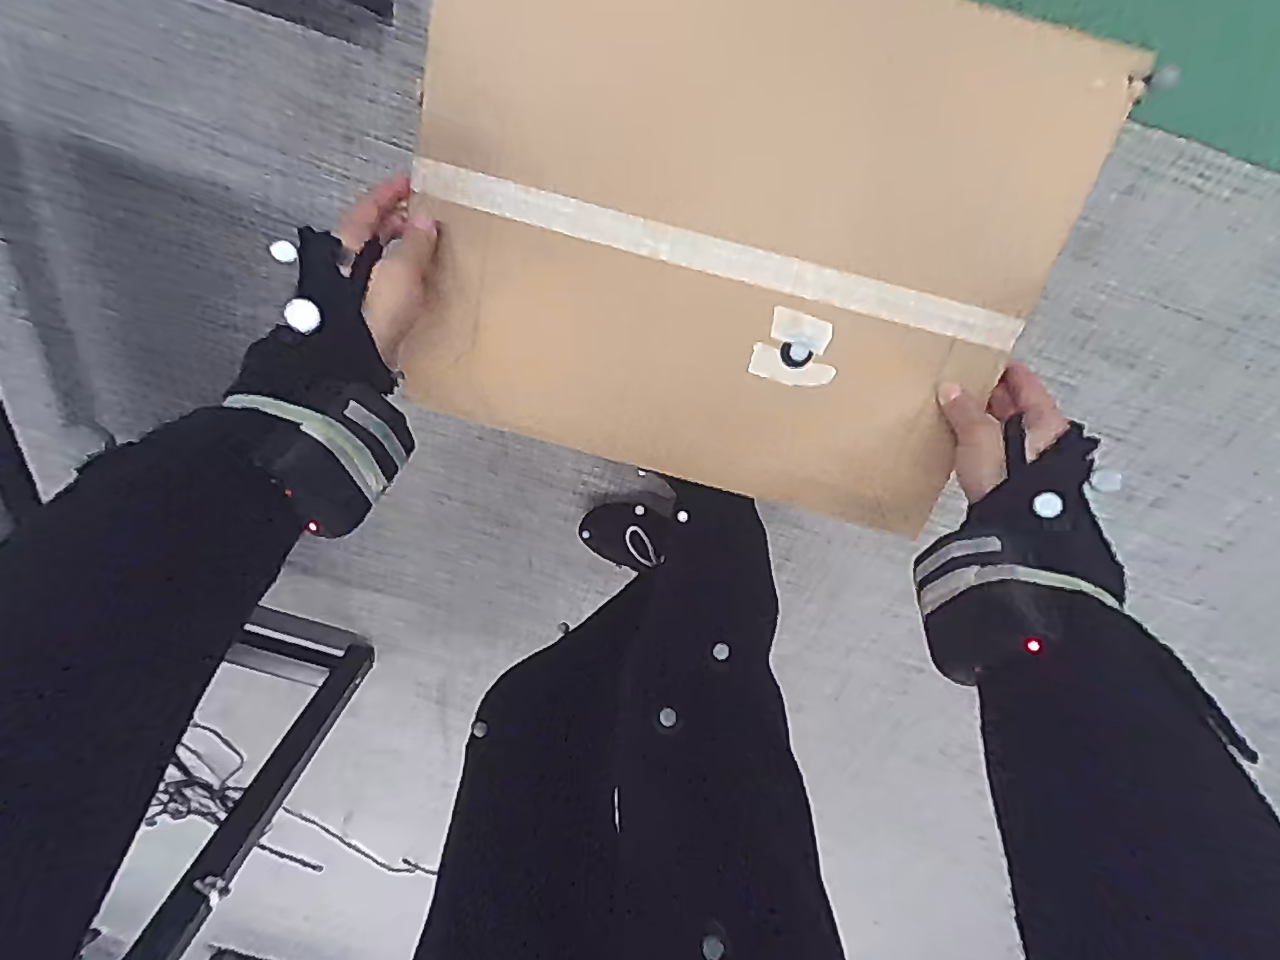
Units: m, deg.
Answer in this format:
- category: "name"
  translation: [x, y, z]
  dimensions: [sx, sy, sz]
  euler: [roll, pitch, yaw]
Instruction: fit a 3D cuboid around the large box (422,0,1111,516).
- category: "large box"
  translation: [0.064, -0.202, 0.508]
  dimensions: [0.408, 0.320, 0.320]
  euler: [14, 110, -2]
